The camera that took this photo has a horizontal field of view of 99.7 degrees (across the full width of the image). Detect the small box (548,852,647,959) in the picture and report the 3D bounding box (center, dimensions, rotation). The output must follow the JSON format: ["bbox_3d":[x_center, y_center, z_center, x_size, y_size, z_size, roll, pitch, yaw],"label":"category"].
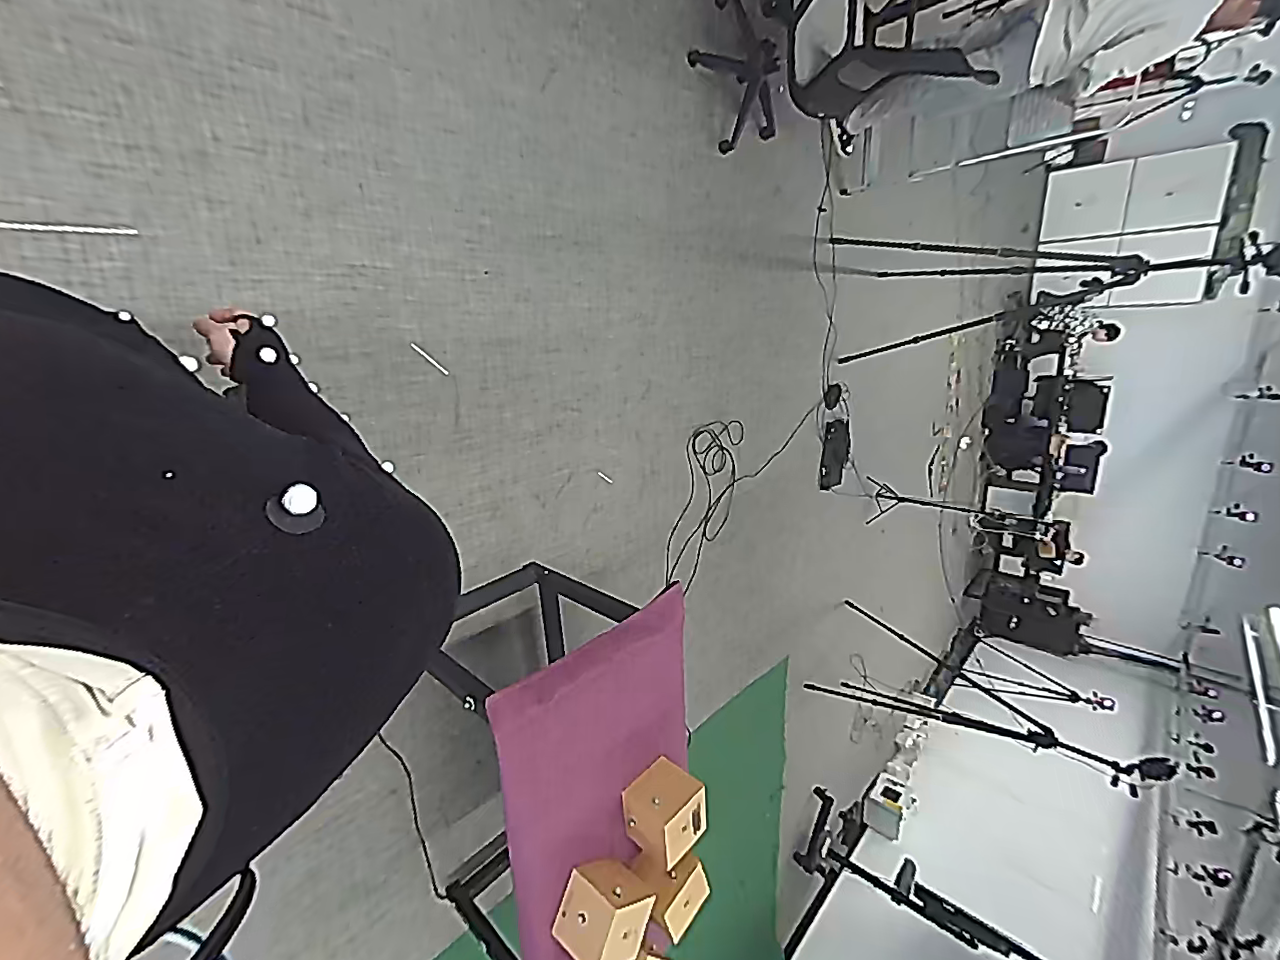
[{"bbox_3d":[-0.116,1.137,1.444,0.179,0.176,0.168,31,77,-48],"label":"small box"}]

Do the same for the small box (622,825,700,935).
[{"bbox_3d":[0.057,1.218,1.659,0.179,0.176,0.168,-36,124,-36],"label":"small box"}]

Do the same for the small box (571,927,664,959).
[{"bbox_3d":[-0.067,1.391,1.563,0.168,0.176,0.179,-54,132,-25],"label":"small box"}]
